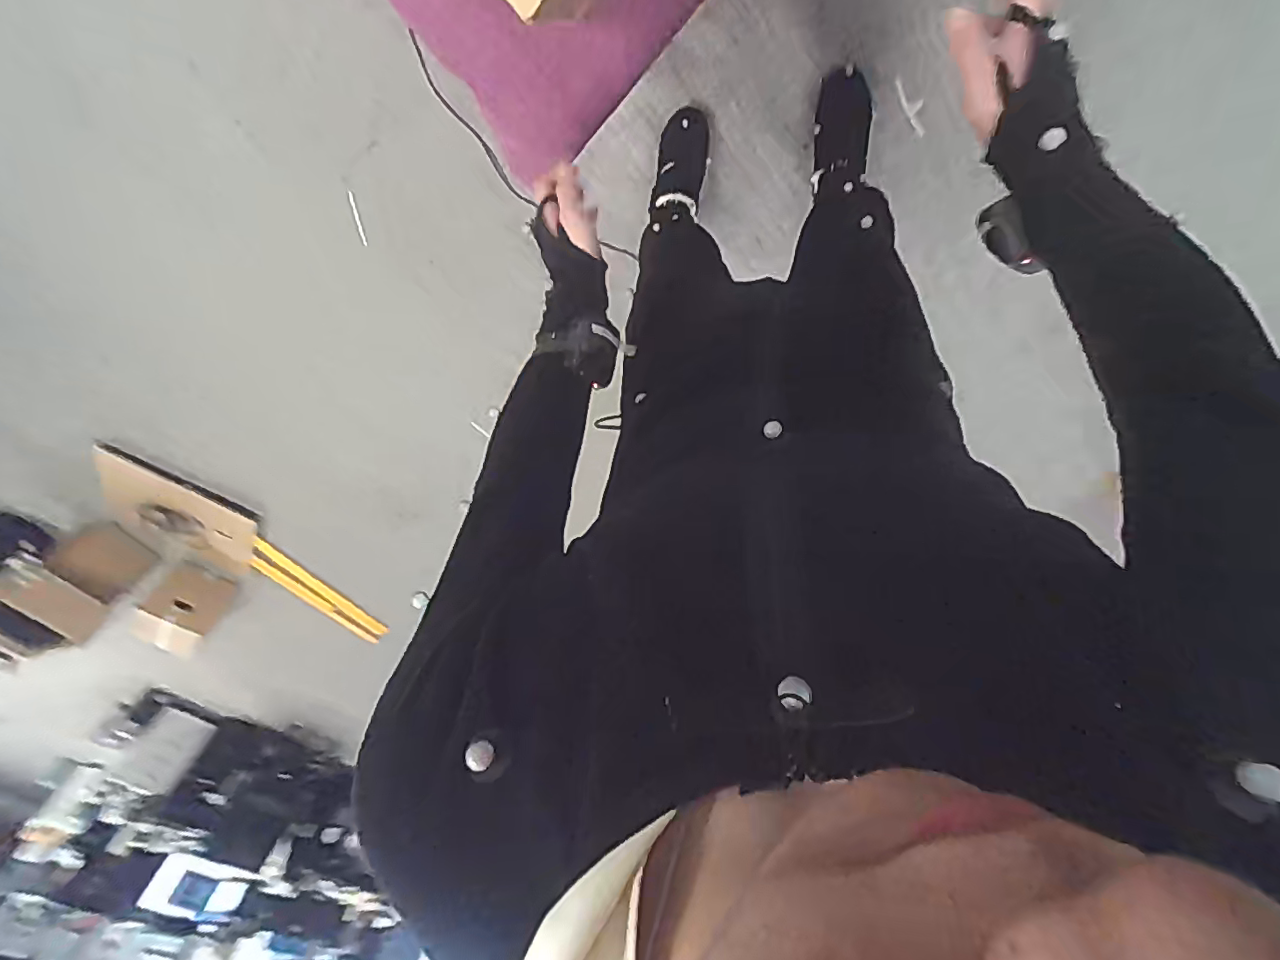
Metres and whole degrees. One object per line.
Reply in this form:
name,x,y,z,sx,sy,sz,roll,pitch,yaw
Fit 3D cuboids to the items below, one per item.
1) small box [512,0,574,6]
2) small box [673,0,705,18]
small box,-0.075,-0.518,0.416,0.179,0.176,0.168,-32,117,34
small box,0.087,-0.978,0.960,0.179,0.176,0.168,35,129,-19
